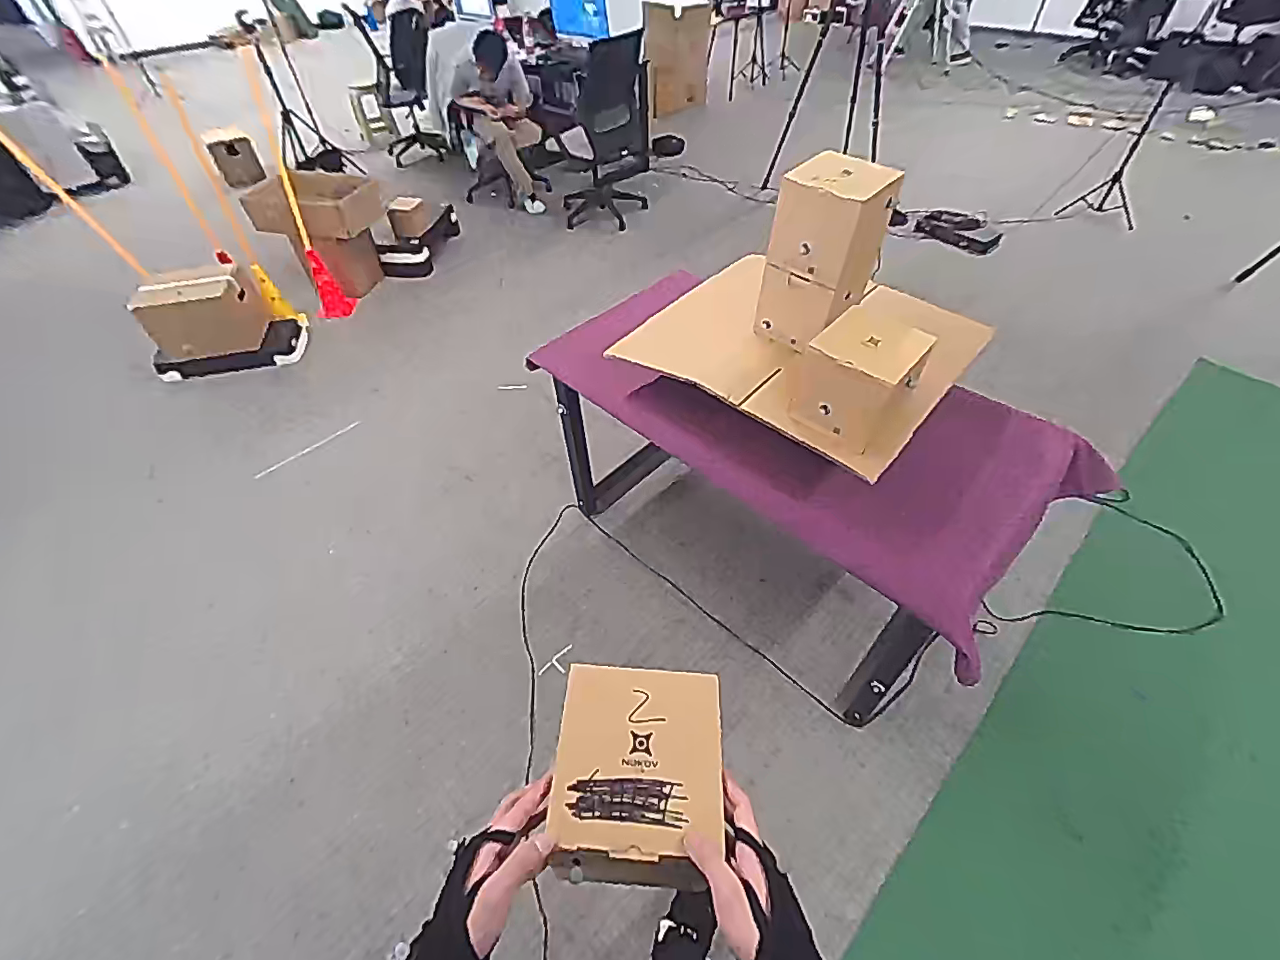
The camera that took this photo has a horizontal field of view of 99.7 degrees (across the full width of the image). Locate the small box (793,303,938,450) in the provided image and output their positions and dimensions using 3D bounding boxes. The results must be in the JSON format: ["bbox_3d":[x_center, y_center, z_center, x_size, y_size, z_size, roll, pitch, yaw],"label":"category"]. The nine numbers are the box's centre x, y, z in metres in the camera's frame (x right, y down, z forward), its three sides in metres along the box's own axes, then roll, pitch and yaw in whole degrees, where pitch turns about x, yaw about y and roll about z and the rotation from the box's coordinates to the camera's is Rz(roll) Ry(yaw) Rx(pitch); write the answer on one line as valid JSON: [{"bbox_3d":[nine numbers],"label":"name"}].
[{"bbox_3d":[0.407,-0.191,1.003,0.168,0.176,0.179,35,59,26],"label":"small box"}]

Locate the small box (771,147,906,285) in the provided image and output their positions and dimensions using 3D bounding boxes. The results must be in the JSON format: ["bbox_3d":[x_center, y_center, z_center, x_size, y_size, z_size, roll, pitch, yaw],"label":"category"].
[{"bbox_3d":[0.376,-0.513,1.054,0.168,0.176,0.179,35,59,25],"label":"small box"}]

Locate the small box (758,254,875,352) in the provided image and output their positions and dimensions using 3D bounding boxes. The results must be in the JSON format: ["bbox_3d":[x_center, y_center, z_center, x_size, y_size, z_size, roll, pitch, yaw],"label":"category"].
[{"bbox_3d":[0.375,-0.406,1.179,0.168,0.176,0.179,35,58,25],"label":"small box"}]
